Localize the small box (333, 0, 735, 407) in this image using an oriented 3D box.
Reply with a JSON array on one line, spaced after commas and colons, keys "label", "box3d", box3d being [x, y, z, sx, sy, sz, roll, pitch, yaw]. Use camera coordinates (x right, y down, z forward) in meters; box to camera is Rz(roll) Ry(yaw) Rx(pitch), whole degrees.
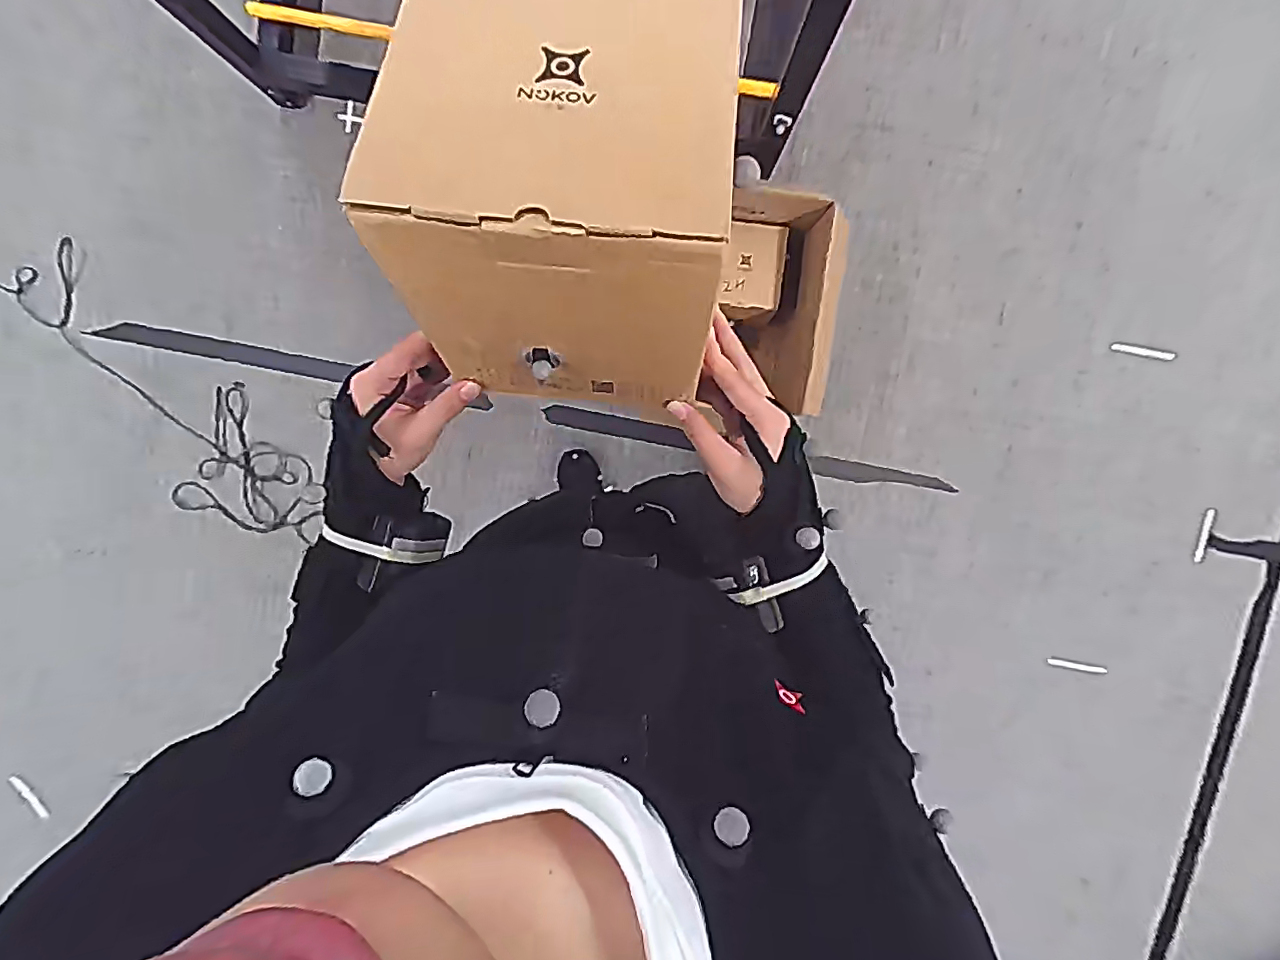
[{"label": "small box", "box3d": [-0.041, -0.163, 0.326, 0.168, 0.176, 0.179, 5, 74, 2]}]
